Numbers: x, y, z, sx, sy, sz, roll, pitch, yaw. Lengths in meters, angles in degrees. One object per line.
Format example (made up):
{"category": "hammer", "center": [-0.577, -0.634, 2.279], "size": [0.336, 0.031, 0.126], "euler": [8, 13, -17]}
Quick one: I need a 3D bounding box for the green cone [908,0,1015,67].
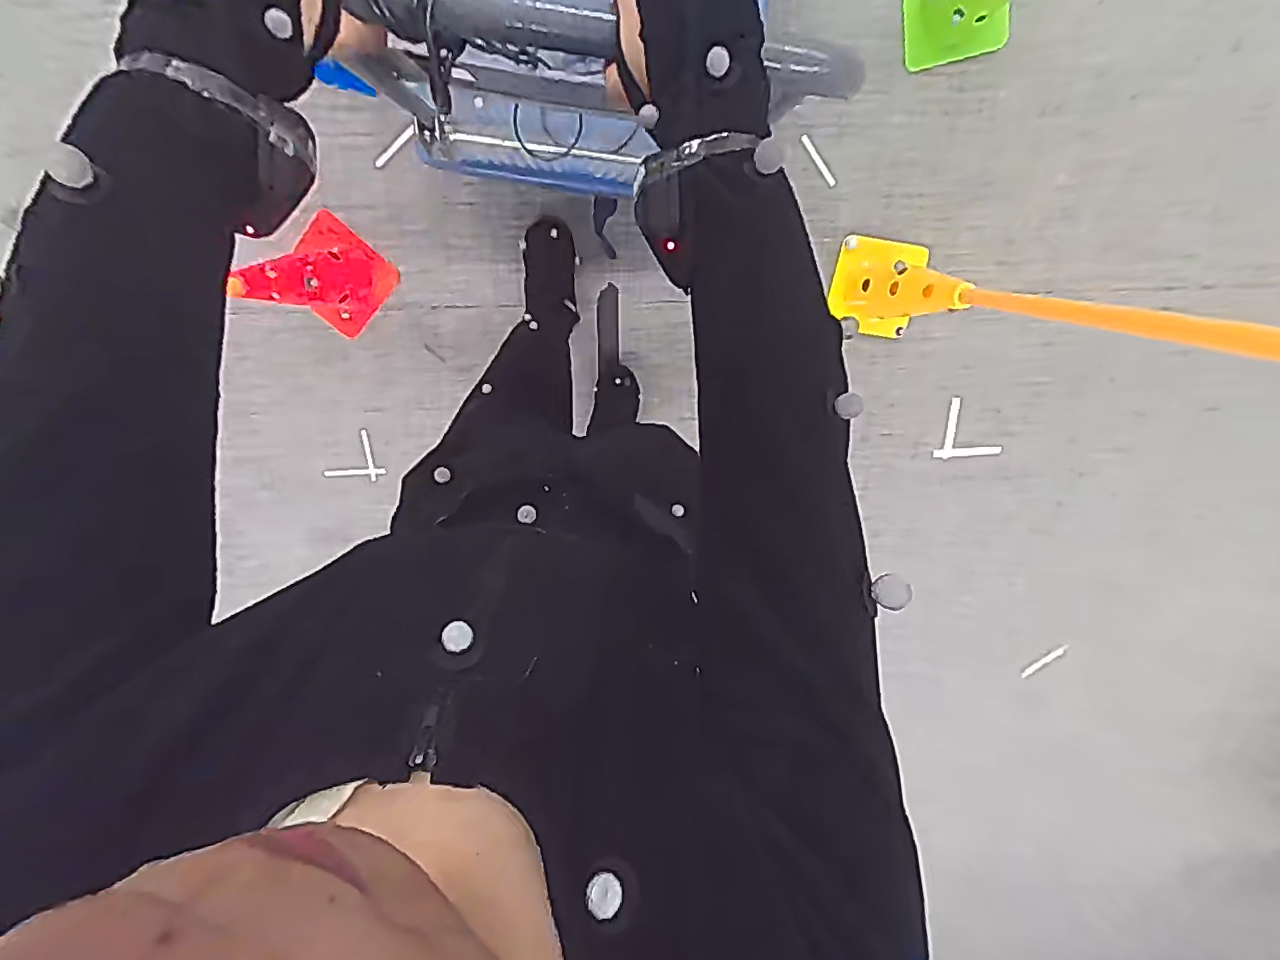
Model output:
{"category": "green cone", "center": [0.606, -0.842, 0.852], "size": [0.200, 0.368, 0.202], "euler": [-14, 113, 4]}

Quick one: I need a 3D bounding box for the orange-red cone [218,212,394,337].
{"category": "orange-red cone", "center": [-0.650, -0.375, 1.004], "size": [0.198, 0.360, 0.199], "euler": [42, 104, -17]}

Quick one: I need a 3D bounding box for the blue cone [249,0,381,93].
{"category": "blue cone", "center": [-0.574, -0.785, 0.854], "size": [0.193, 0.380, 0.192], "euler": [13, 112, -7]}
